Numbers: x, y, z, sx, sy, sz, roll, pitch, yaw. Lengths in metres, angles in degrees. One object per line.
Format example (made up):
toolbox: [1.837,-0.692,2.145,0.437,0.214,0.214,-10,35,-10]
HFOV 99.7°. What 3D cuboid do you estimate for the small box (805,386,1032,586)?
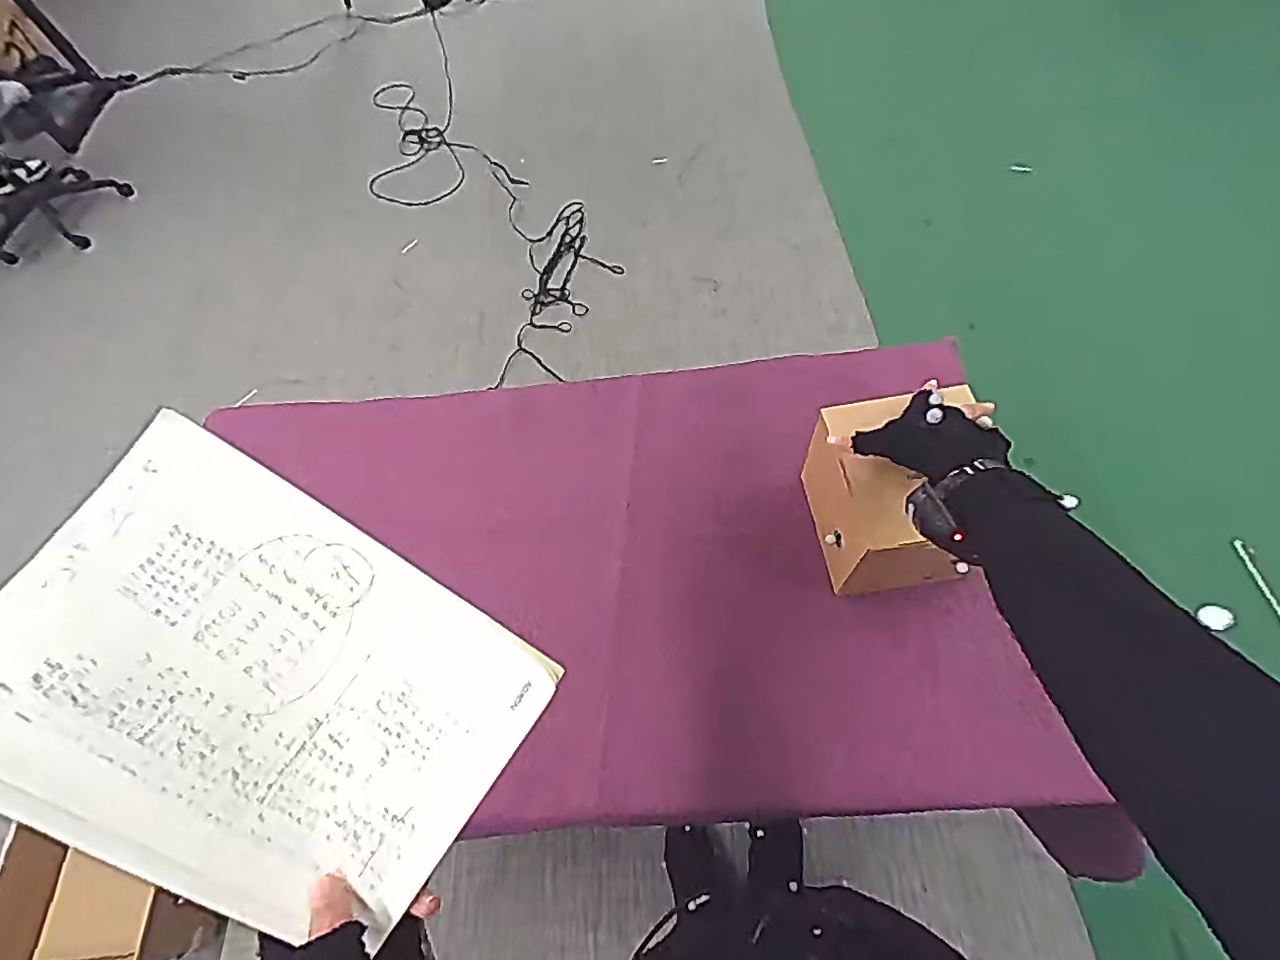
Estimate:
small box: [0.305,0.019,0.639,0.168,0.176,0.179,-8,62,3]
